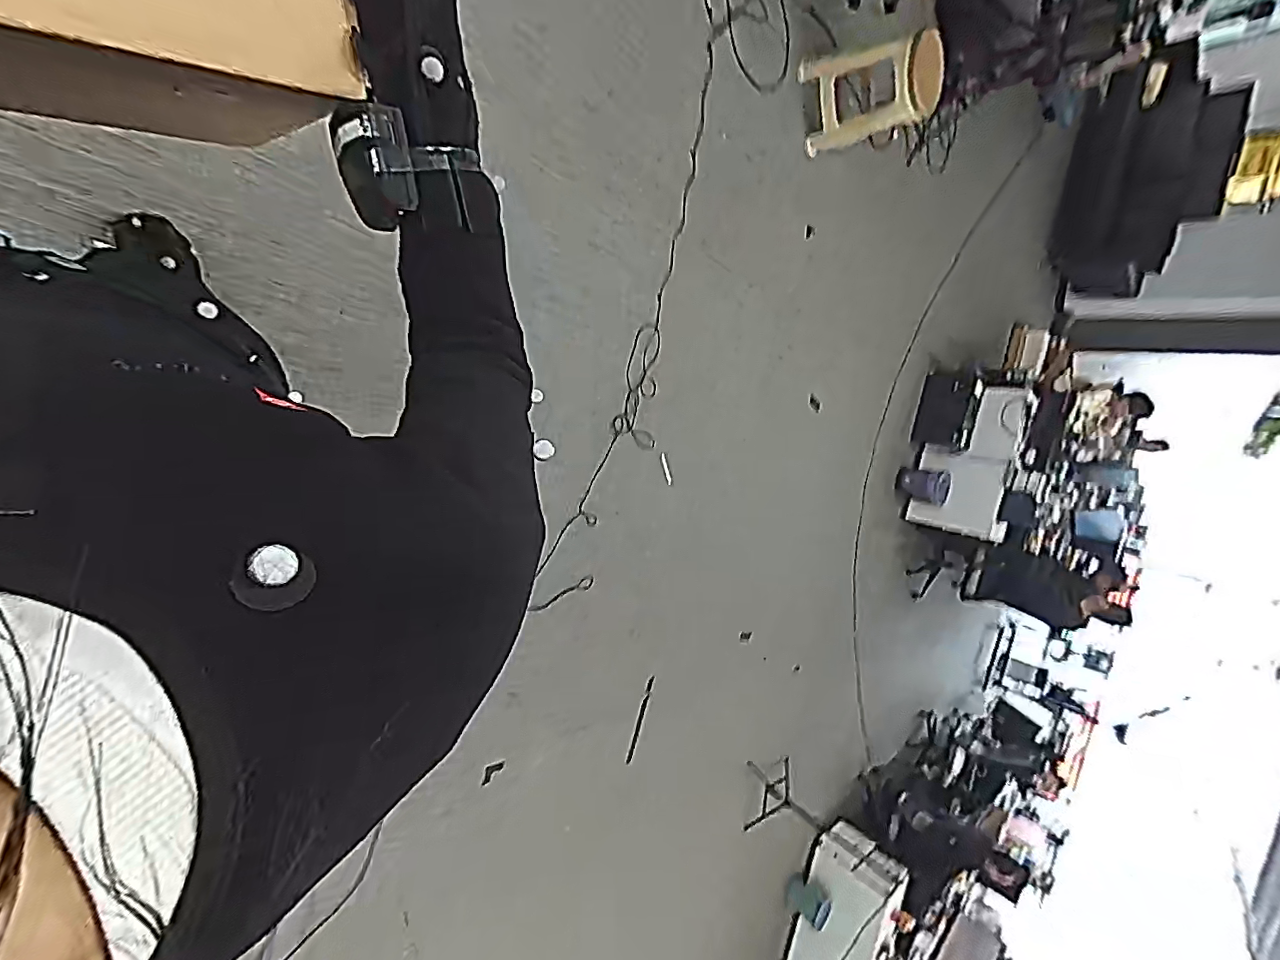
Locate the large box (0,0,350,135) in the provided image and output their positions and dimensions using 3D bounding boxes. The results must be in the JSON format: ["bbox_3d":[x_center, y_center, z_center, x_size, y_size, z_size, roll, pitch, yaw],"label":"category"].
[{"bbox_3d":[-0.424,-0.383,0.251,0.408,0.320,0.320,-19,122,-41],"label":"large box"}]
